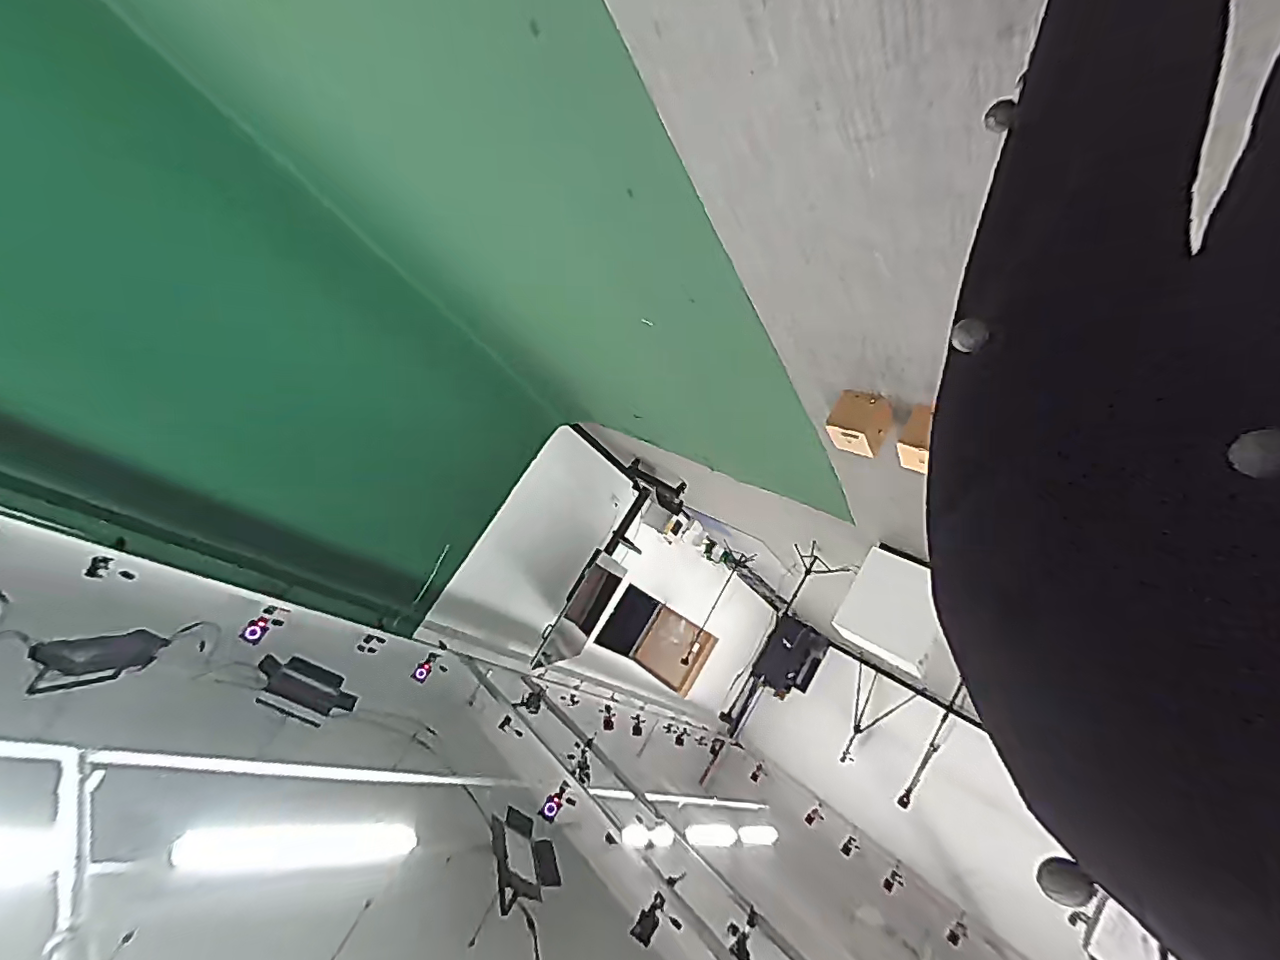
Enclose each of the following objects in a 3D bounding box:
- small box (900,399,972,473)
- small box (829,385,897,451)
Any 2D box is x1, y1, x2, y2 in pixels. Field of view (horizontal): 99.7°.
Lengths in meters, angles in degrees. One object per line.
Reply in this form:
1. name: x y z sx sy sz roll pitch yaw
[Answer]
1. small box: 1.040 -0.156 1.892 0.168 0.176 0.179 26 168 41
2. small box: 0.858 -0.241 2.072 0.168 0.176 0.179 25 168 44
